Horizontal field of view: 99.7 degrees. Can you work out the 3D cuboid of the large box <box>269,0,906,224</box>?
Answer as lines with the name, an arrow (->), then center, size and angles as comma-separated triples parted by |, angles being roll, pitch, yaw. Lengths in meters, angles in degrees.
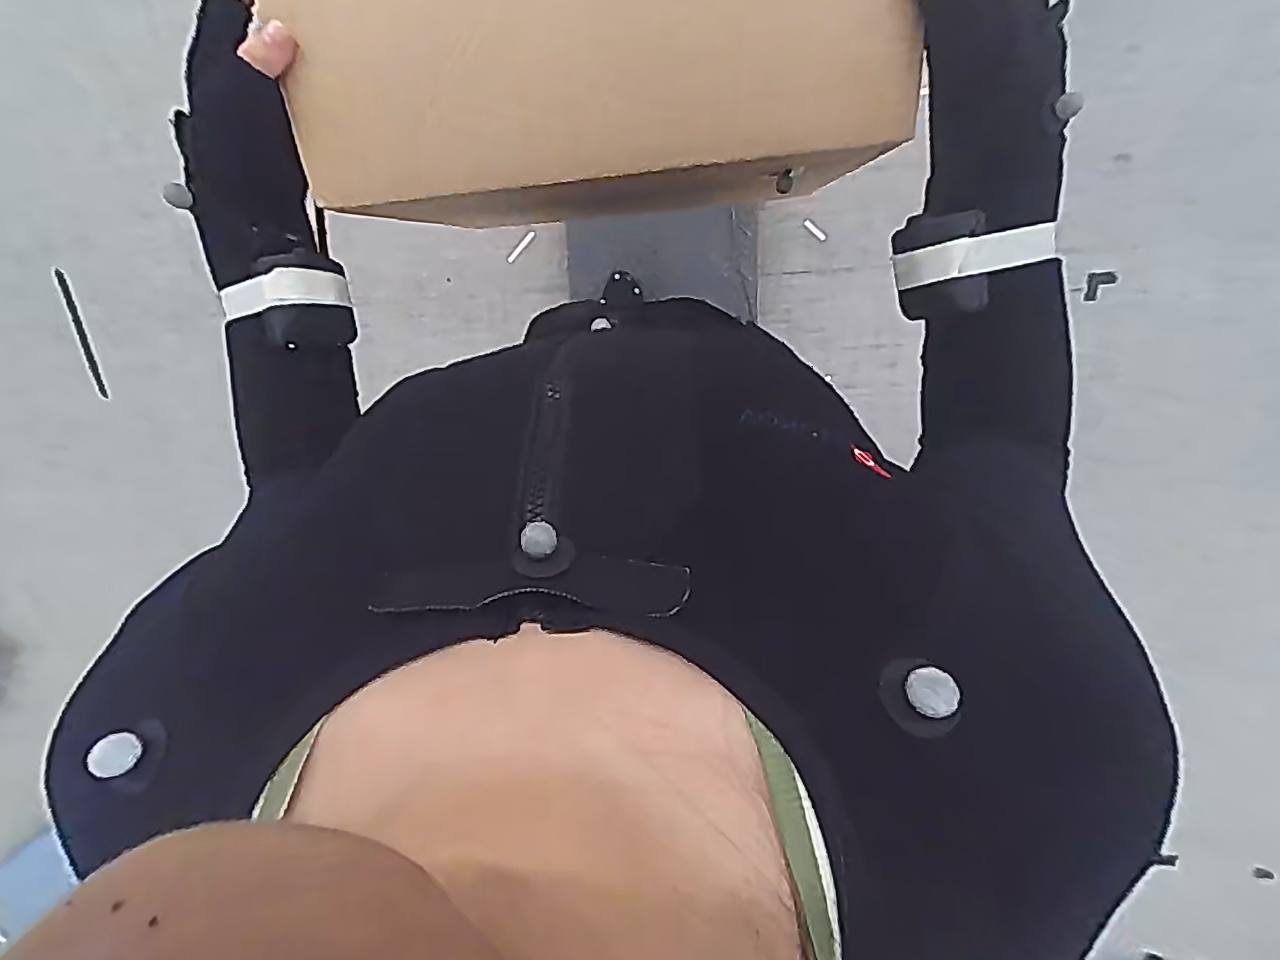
large box -> -0.032, -0.408, 0.452 | 0.408, 0.320, 0.320 | -3, 112, 6
